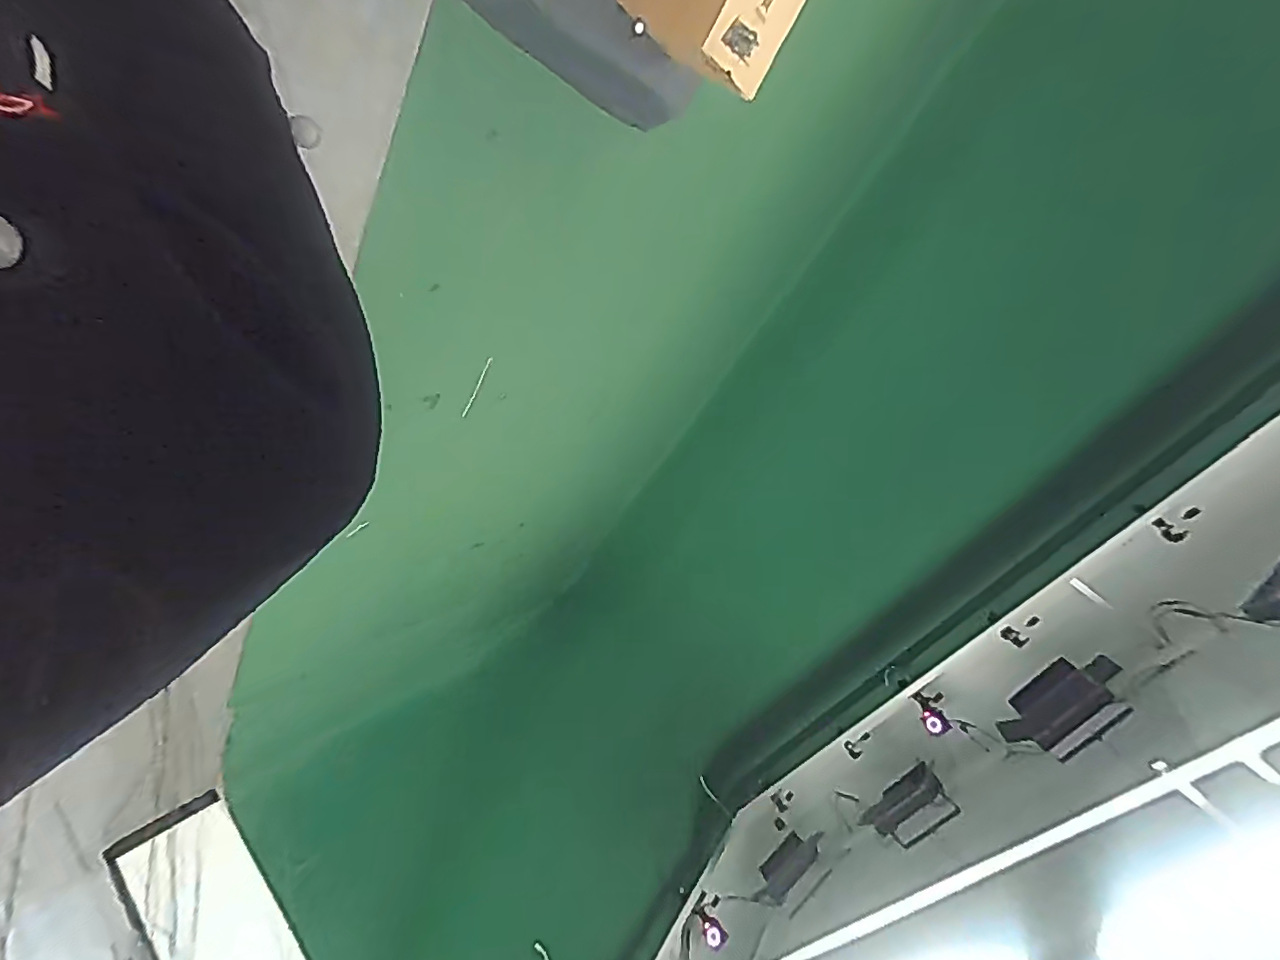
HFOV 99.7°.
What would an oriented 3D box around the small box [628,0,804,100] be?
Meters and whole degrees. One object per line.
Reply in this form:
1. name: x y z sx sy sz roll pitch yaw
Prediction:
1. small box: 0.105 -0.679 0.740 0.168 0.176 0.179 -17 145 -56
